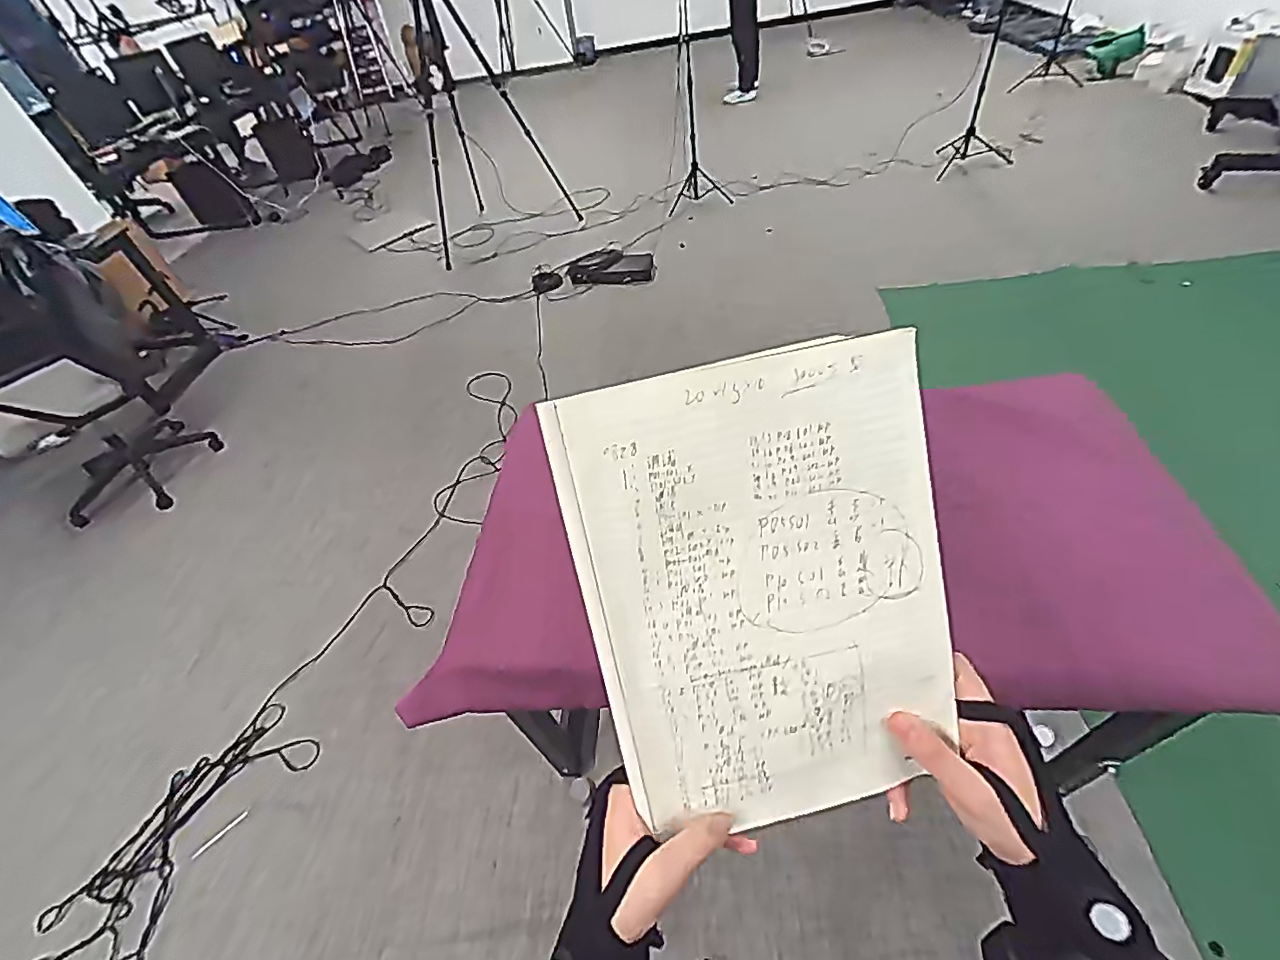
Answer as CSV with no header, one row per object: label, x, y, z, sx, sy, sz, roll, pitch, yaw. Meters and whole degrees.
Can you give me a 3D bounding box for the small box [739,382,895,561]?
small box,0.219,-0.006,0.713,0.168,0.176,0.179,-2,45,9
